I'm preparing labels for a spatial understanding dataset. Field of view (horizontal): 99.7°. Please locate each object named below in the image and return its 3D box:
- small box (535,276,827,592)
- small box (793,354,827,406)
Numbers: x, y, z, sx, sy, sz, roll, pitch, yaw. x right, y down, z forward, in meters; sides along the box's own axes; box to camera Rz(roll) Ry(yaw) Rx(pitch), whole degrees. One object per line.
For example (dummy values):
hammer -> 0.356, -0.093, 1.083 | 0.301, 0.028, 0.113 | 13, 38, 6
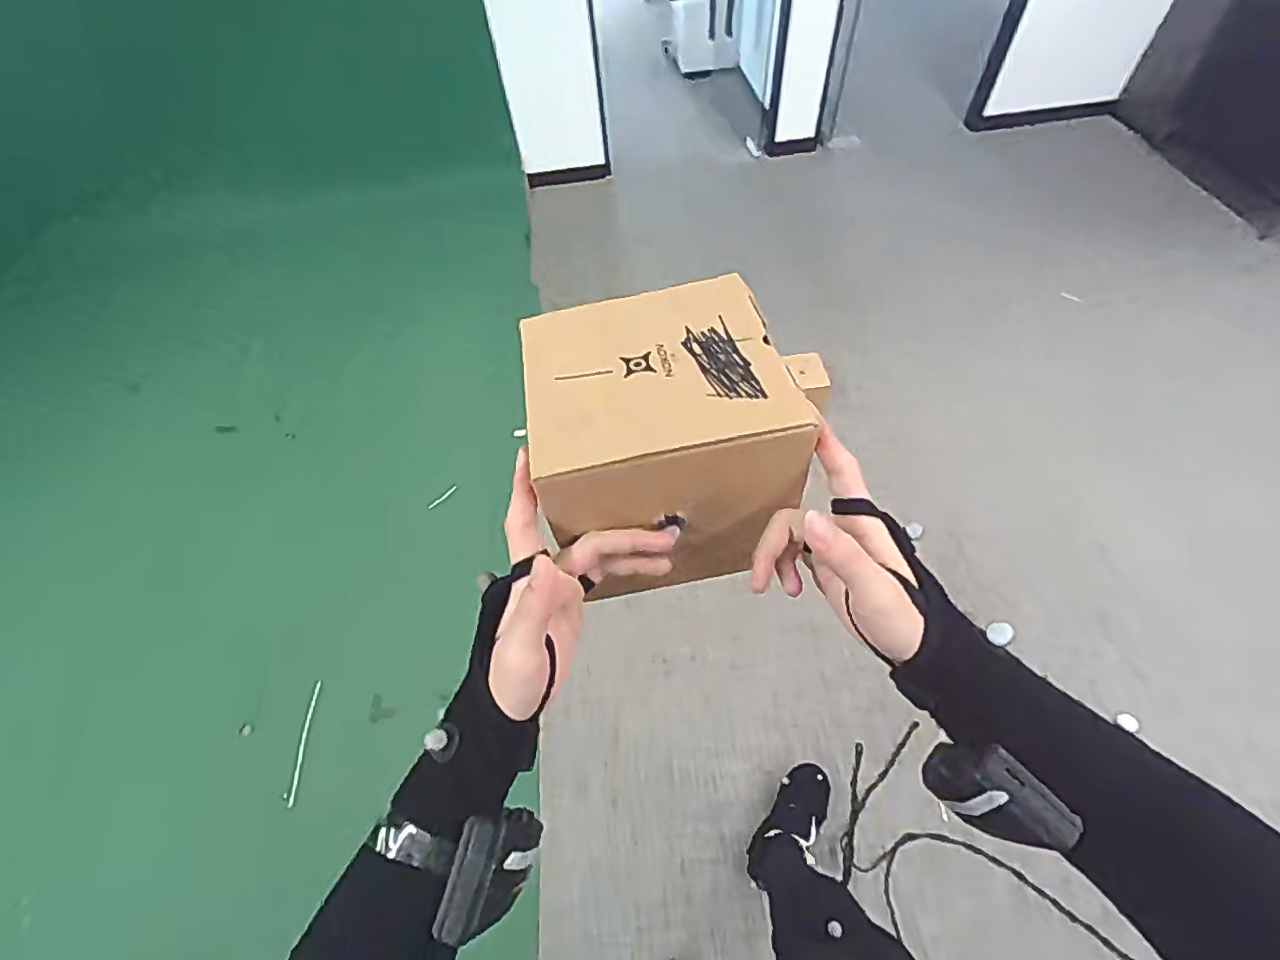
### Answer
small box -> 0.023, -0.031, 0.433 | 0.179, 0.176, 0.168 | -11, 51, -1
small box -> 0.579, -0.339, 2.016 | 0.168, 0.176, 0.179 | -7, 55, -1
